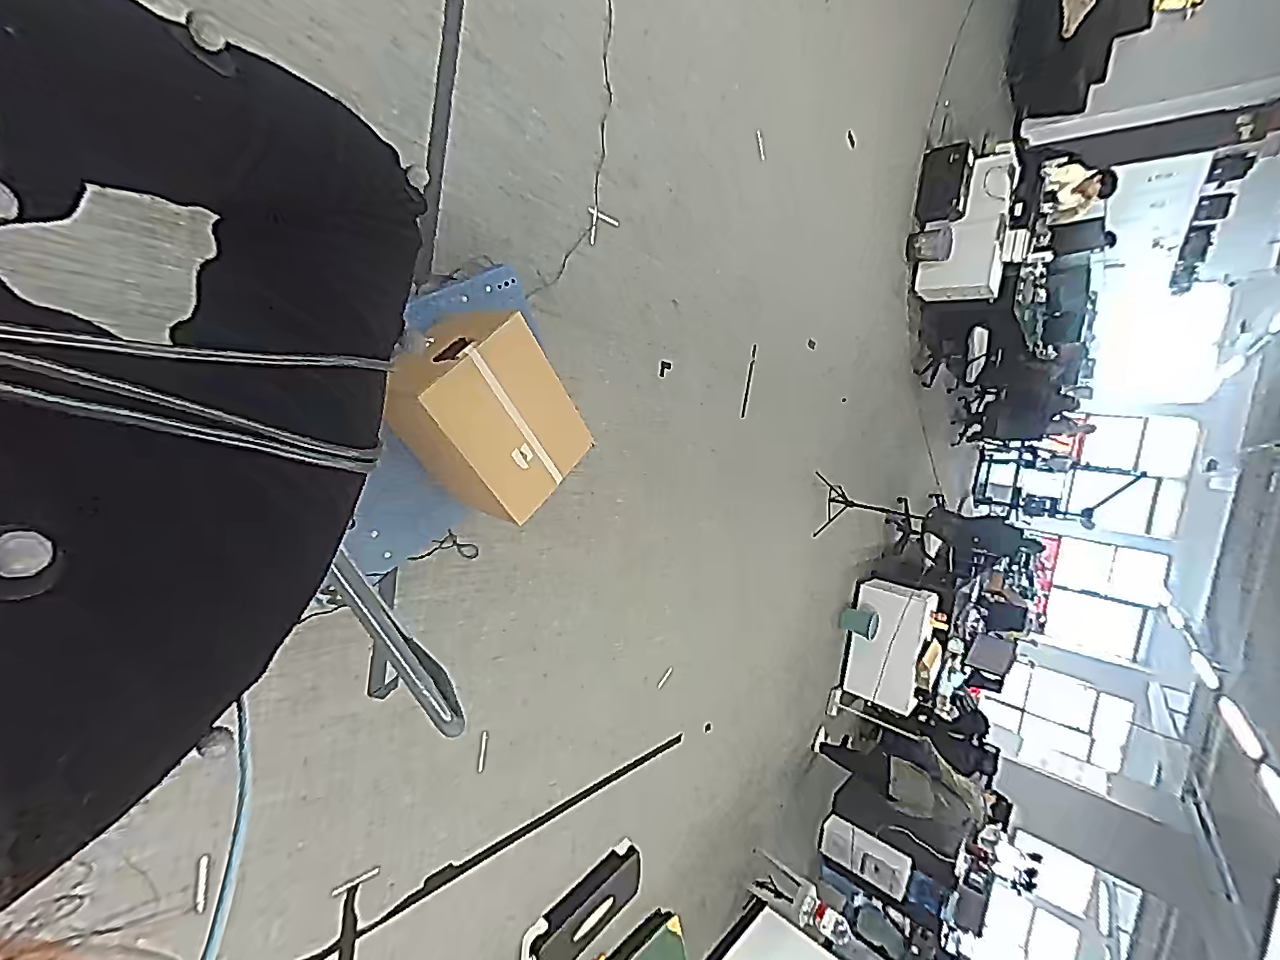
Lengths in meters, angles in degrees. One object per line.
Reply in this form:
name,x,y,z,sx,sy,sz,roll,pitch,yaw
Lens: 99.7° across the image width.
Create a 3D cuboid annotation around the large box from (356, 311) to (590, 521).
large box,-0.400,-0.163,1.350,0.320,0.320,0.408,-51,134,-27
